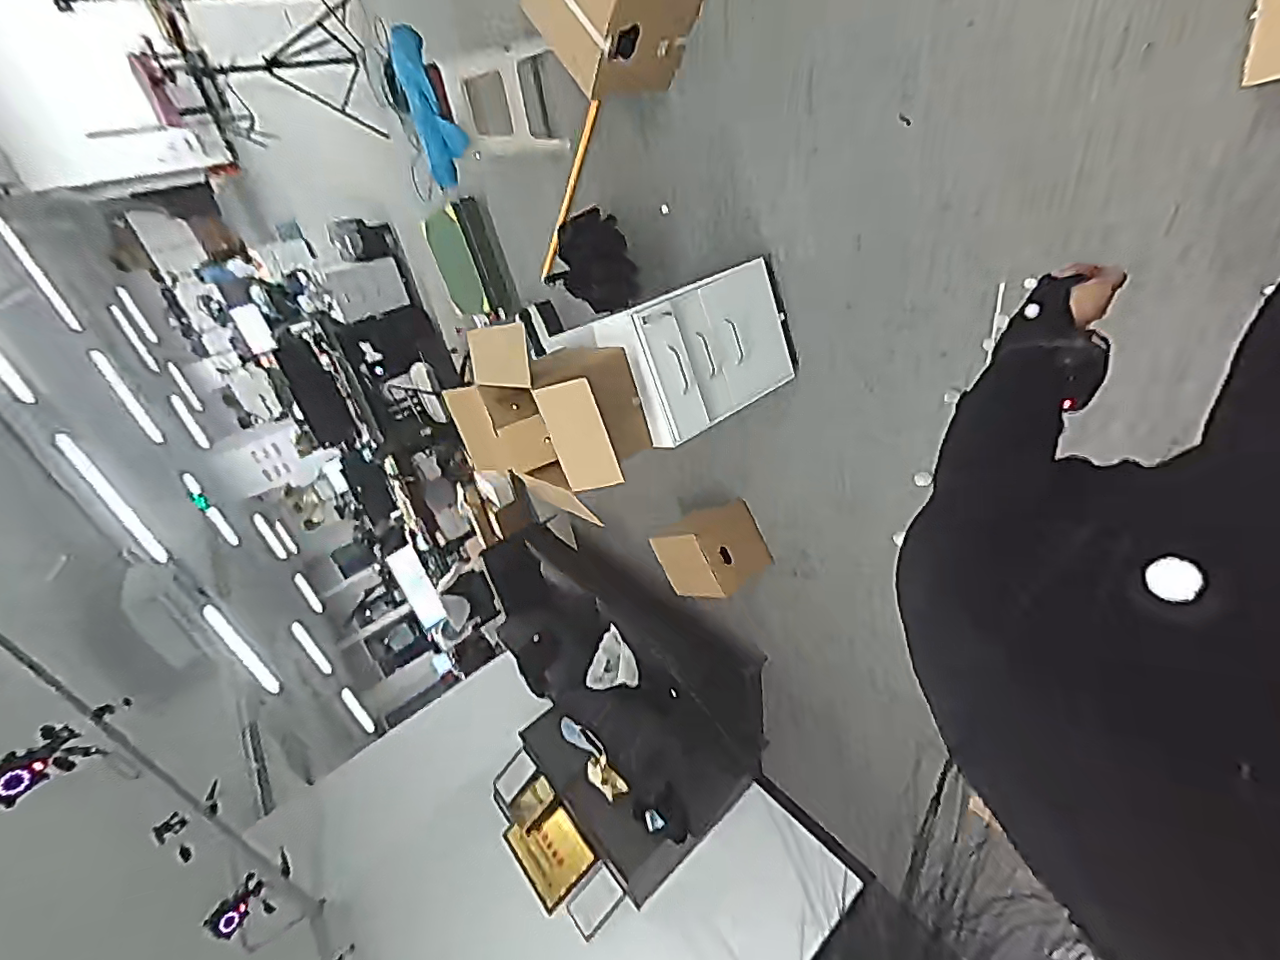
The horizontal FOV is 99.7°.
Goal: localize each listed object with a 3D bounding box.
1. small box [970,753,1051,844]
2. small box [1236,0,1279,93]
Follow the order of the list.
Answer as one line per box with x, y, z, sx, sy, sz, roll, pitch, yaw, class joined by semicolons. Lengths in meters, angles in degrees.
1.281;1.095;1.868;0.168;0.176;0.179;28;138;43;small box
0.954;-0.642;0.717;0.179;0.176;0.168;19;132;50;small box
